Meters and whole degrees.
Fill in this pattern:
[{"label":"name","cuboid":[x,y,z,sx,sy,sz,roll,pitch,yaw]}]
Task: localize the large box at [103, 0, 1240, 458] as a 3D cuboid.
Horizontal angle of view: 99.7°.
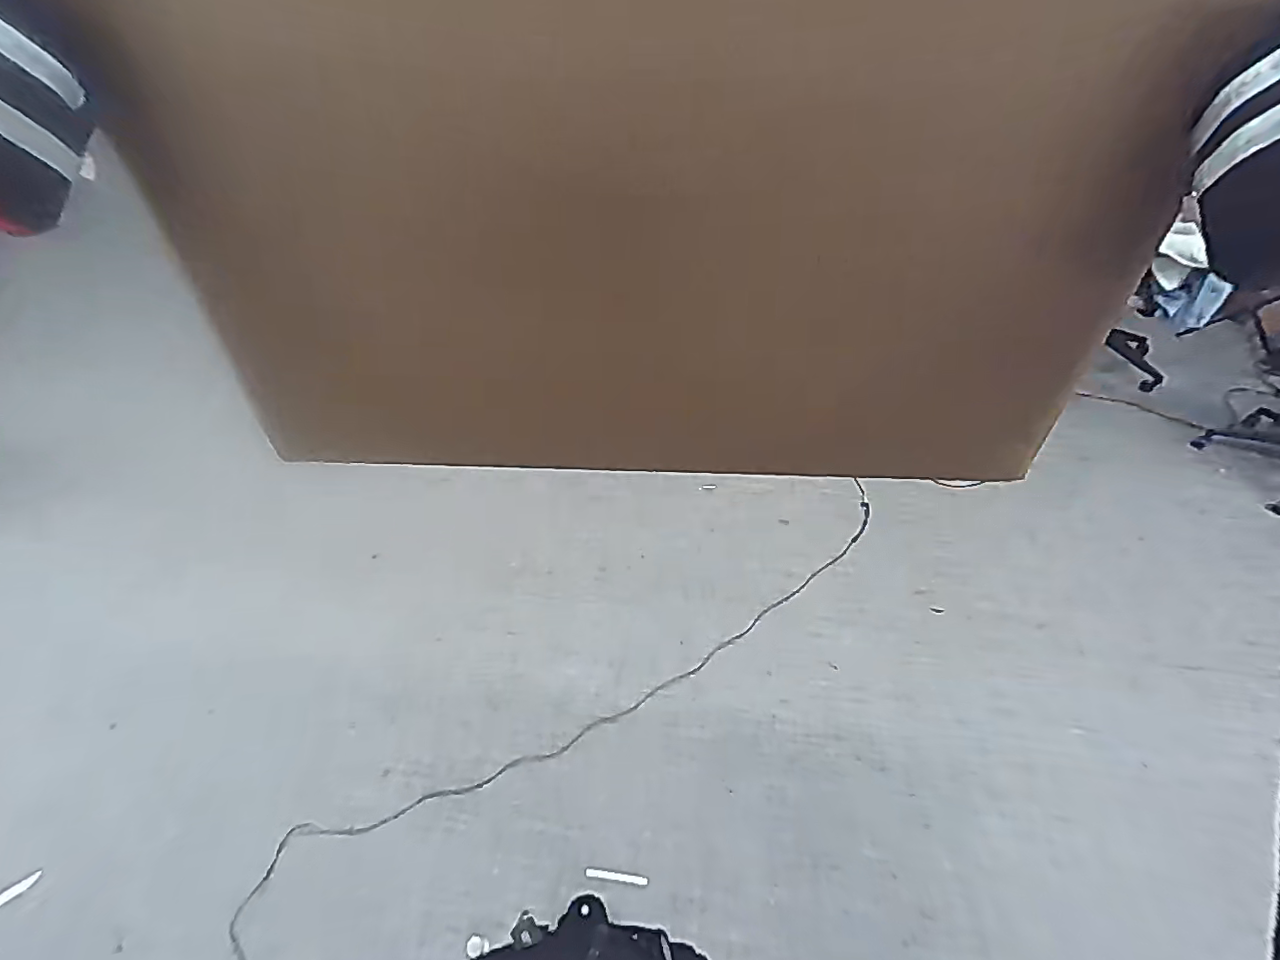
[{"label":"large box","cuboid":[0.009,-0.225,0.327,0.408,0.320,0.320,2,40,1]}]
